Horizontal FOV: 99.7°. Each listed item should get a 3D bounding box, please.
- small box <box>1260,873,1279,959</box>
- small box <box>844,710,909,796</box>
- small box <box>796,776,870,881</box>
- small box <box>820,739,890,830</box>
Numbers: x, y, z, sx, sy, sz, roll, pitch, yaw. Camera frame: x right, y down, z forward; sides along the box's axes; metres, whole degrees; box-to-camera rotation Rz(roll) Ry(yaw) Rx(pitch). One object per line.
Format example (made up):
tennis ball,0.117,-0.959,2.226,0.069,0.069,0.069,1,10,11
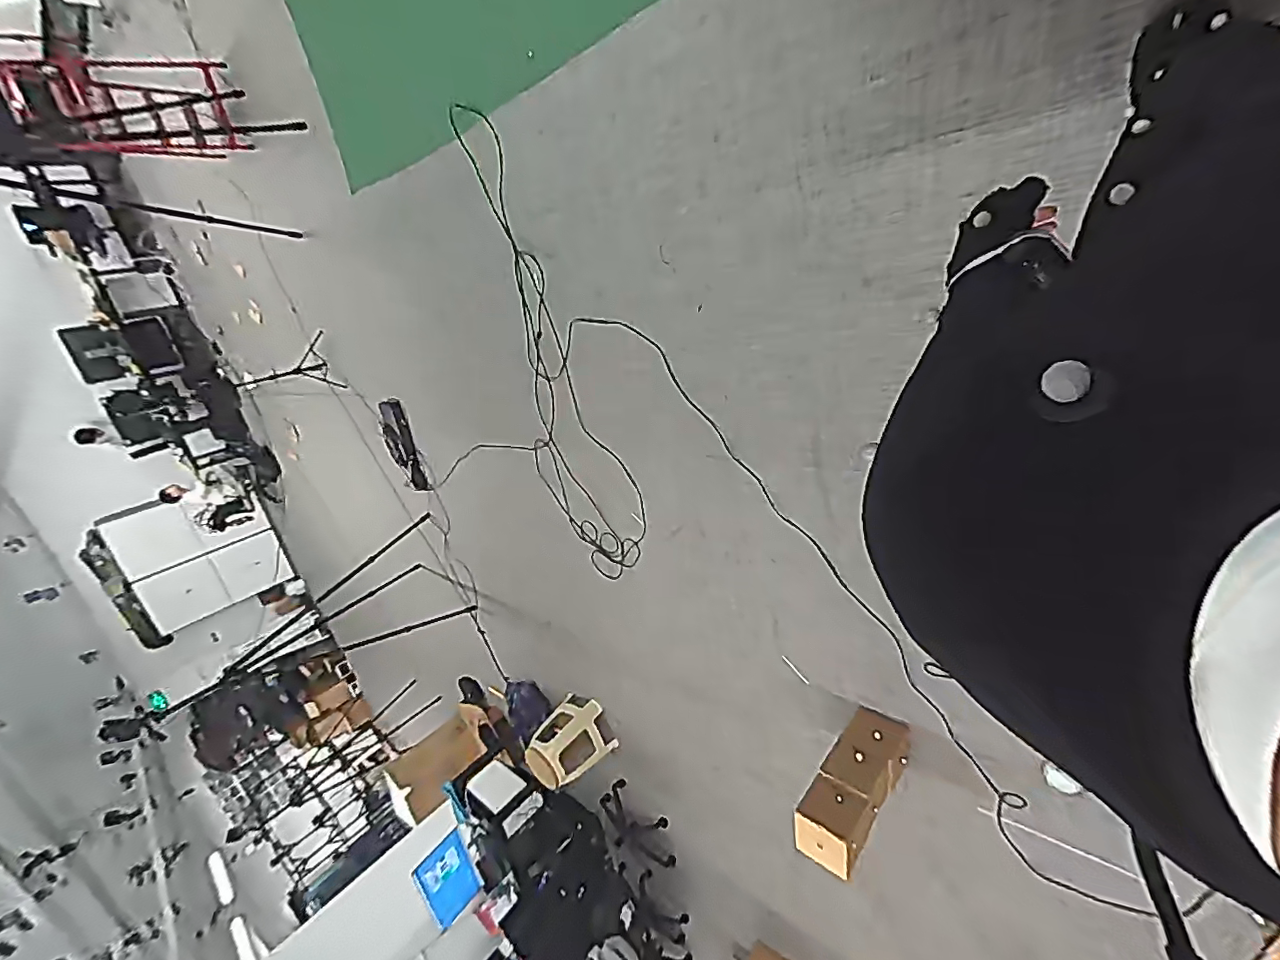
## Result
small box,1.533,1.028,1.204,0.168,0.176,0.179,15,123,39
small box,0.824,0.942,1.884,0.179,0.176,0.168,11,120,42
small box,0.604,1.074,1.681,0.168,0.176,0.179,11,120,42
small box,0.710,1.004,1.783,0.168,0.176,0.179,12,120,42
